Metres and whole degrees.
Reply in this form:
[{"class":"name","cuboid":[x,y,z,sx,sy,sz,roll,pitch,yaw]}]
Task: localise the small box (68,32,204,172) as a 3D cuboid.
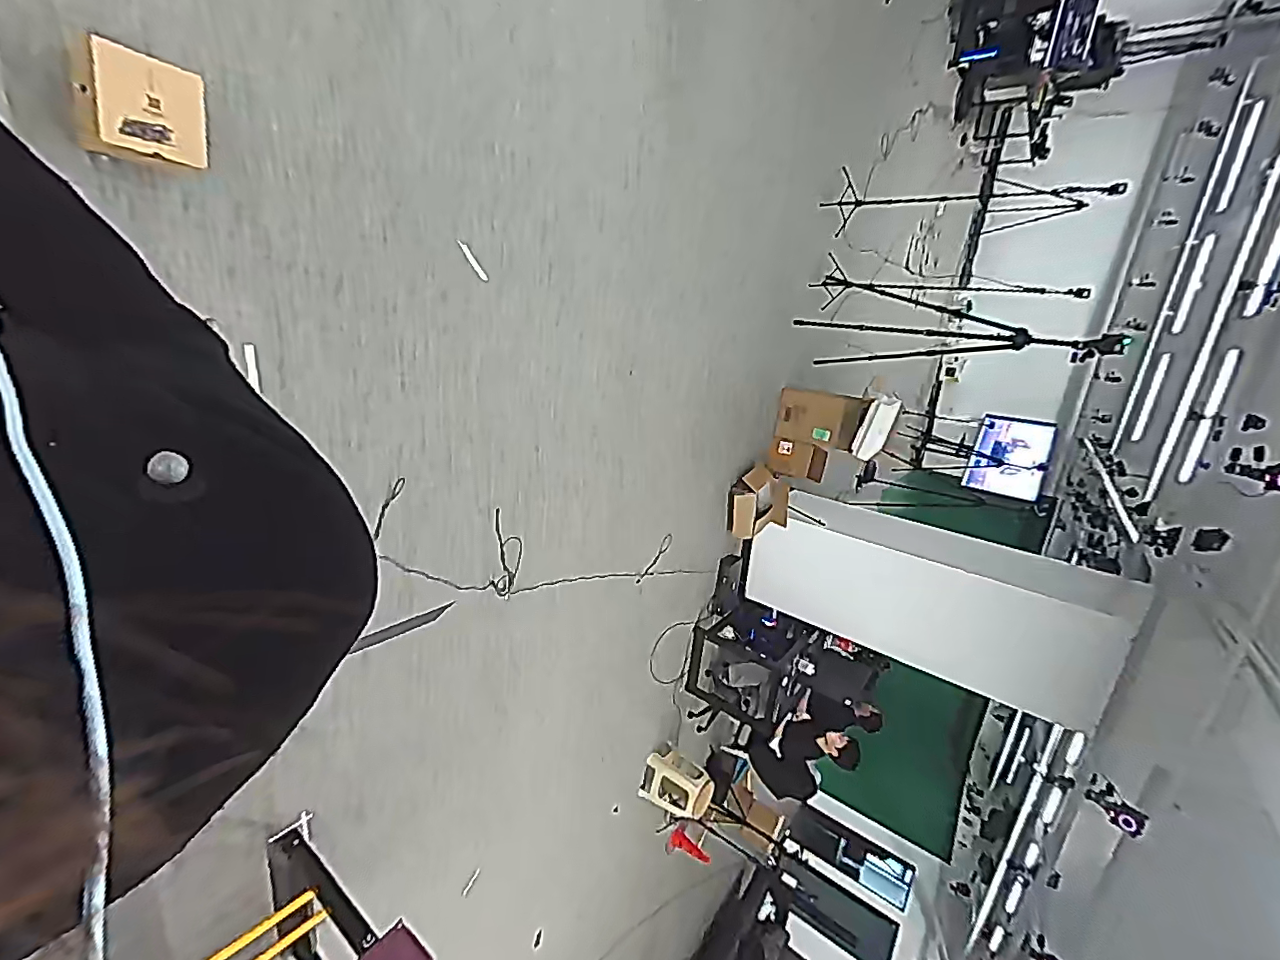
[{"class":"small box","cuboid":[-1.005,-0.738,1.082,0.168,0.176,0.179,-12,113,-54]}]
